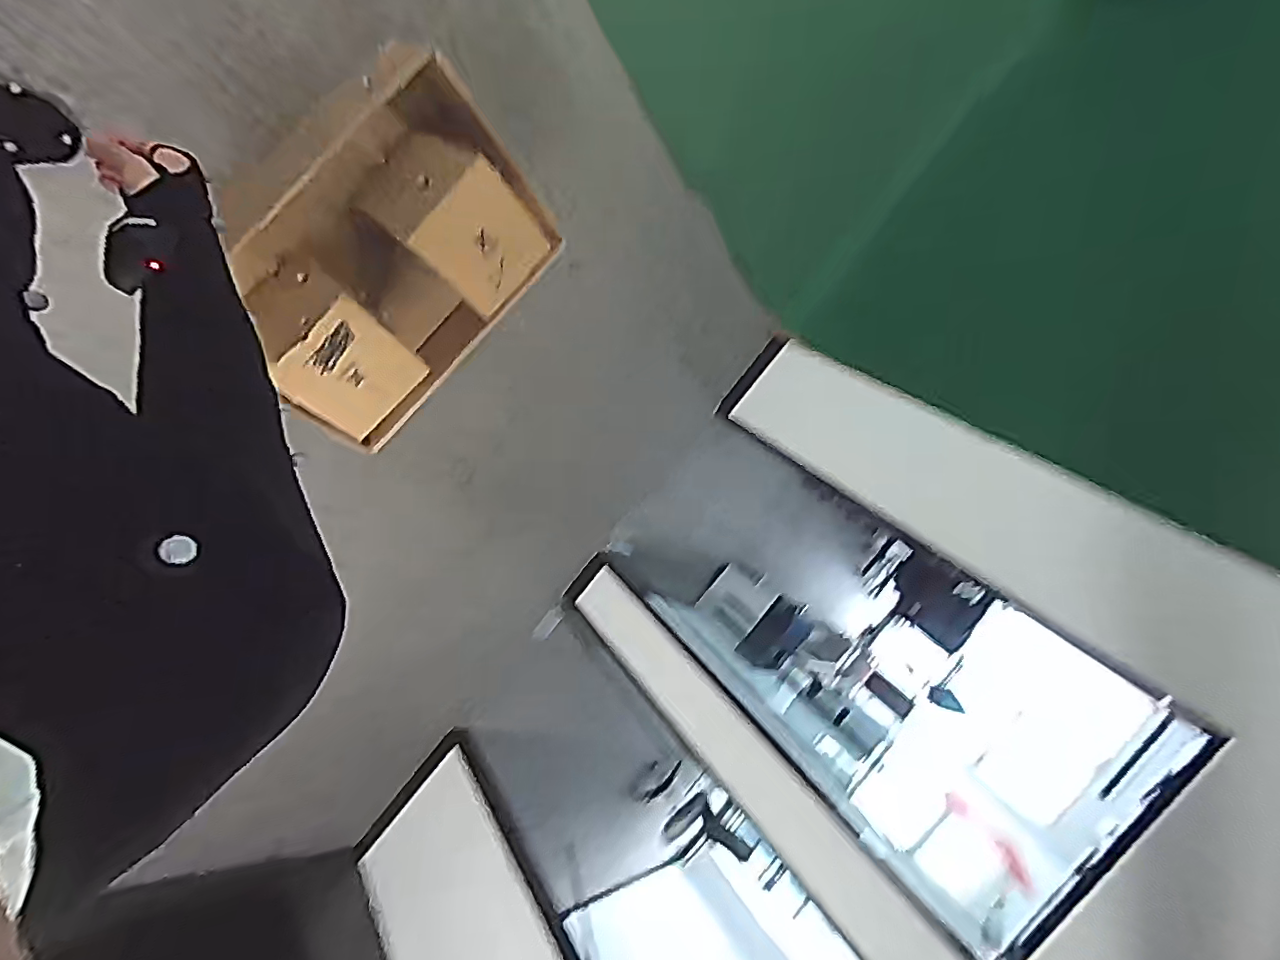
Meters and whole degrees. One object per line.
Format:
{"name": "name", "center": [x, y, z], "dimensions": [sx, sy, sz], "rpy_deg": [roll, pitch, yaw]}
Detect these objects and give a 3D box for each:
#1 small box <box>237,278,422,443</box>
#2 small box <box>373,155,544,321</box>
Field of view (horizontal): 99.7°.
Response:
{"name": "small box", "center": [-0.498, -0.197, 0.867], "dimensions": [0.168, 0.176, 0.179], "rpy_deg": [-46, 144, -5]}
{"name": "small box", "center": [-0.299, -0.399, 0.885], "dimensions": [0.168, 0.176, 0.179], "rpy_deg": [-48, 142, -1]}
